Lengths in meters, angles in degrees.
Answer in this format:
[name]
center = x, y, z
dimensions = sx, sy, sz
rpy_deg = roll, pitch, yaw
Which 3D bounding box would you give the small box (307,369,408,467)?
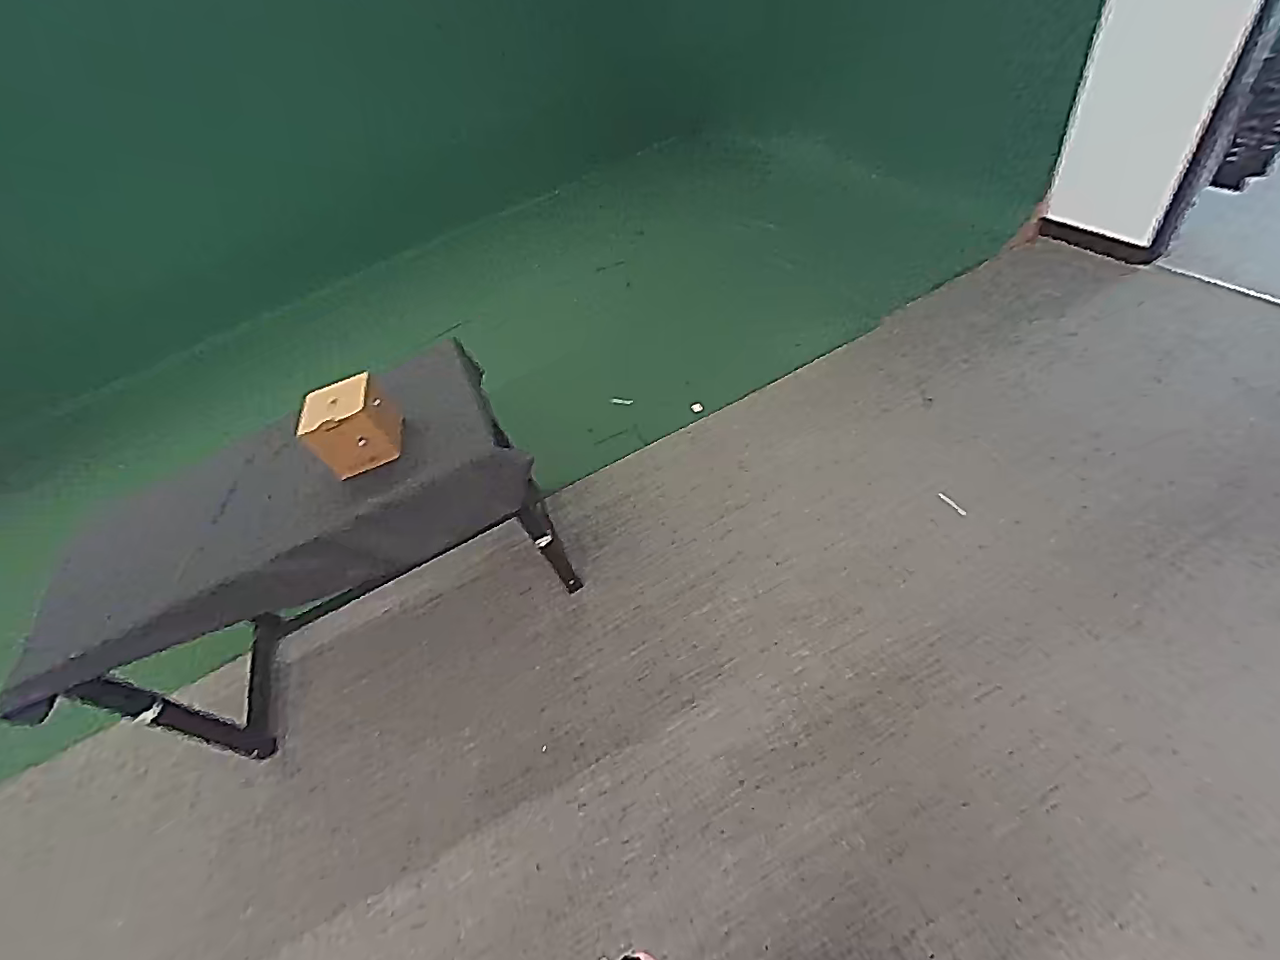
[small box]
center = -0.727, -0.155, 1.411
dimensions = 0.168, 0.176, 0.179
rpy_deg = -20, 45, -1
